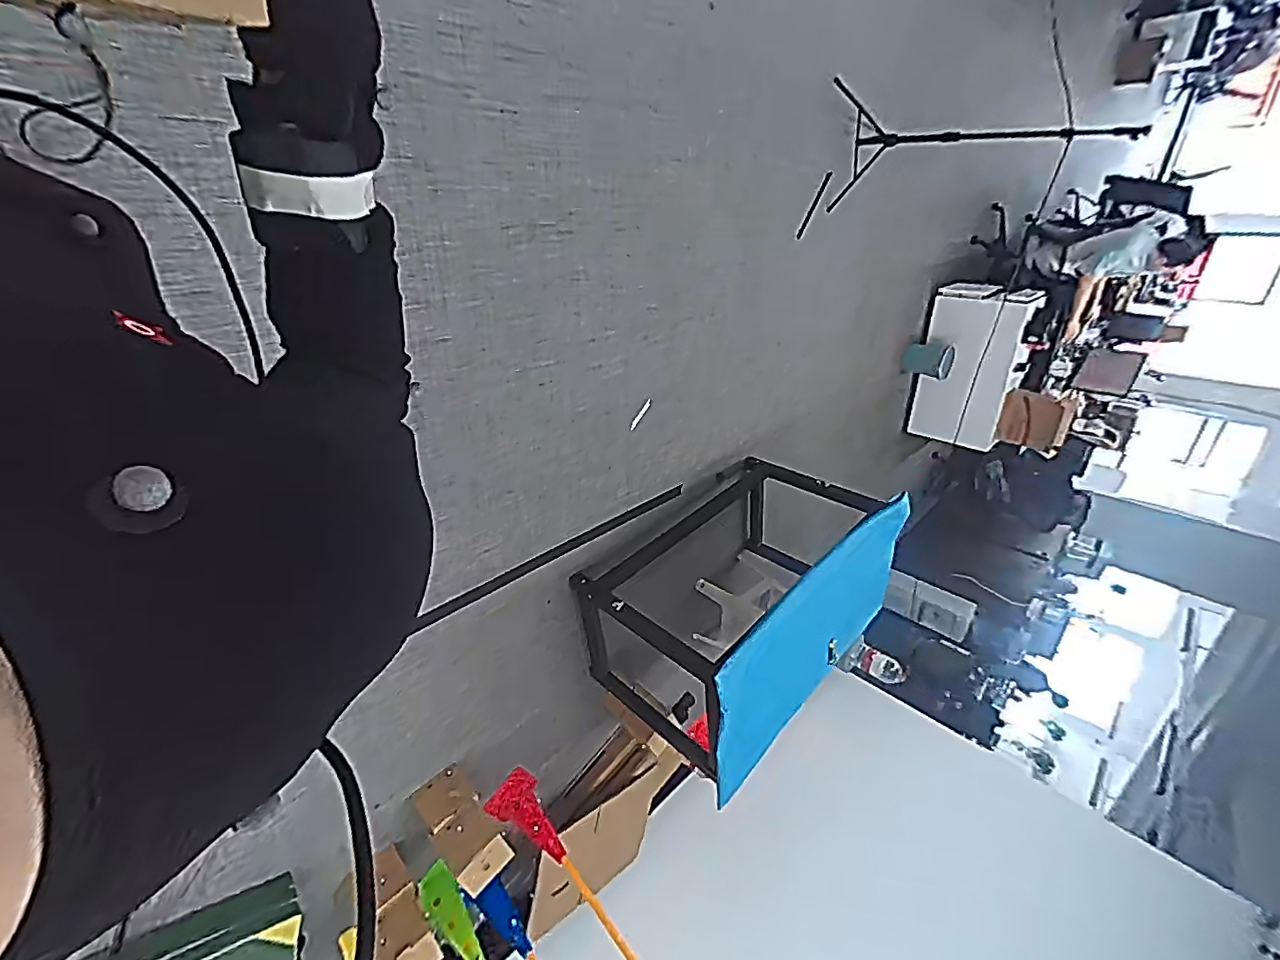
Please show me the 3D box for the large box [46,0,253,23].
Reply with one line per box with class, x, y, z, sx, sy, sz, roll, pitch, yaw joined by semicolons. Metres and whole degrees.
large box;-0.416;-0.358;0.142;0.408;0.320;0.320;-25;136;-39
